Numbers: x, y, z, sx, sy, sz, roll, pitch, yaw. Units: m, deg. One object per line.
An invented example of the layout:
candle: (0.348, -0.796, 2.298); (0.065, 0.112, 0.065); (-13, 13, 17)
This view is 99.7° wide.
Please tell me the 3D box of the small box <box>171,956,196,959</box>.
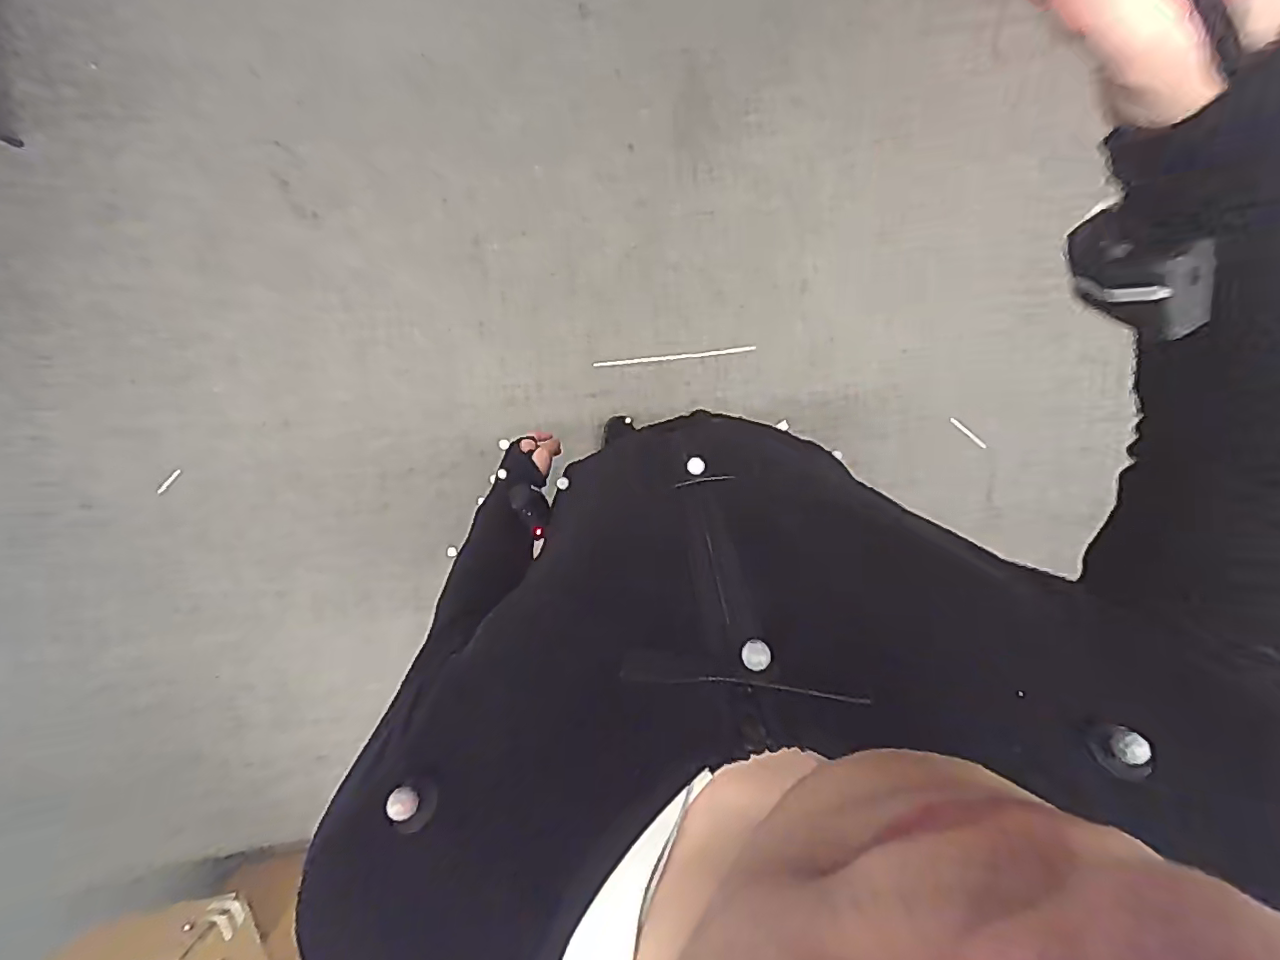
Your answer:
small box: (-1.155, 1.257, 1.244); (0.179, 0.176, 0.168); (-10, 97, 0)
